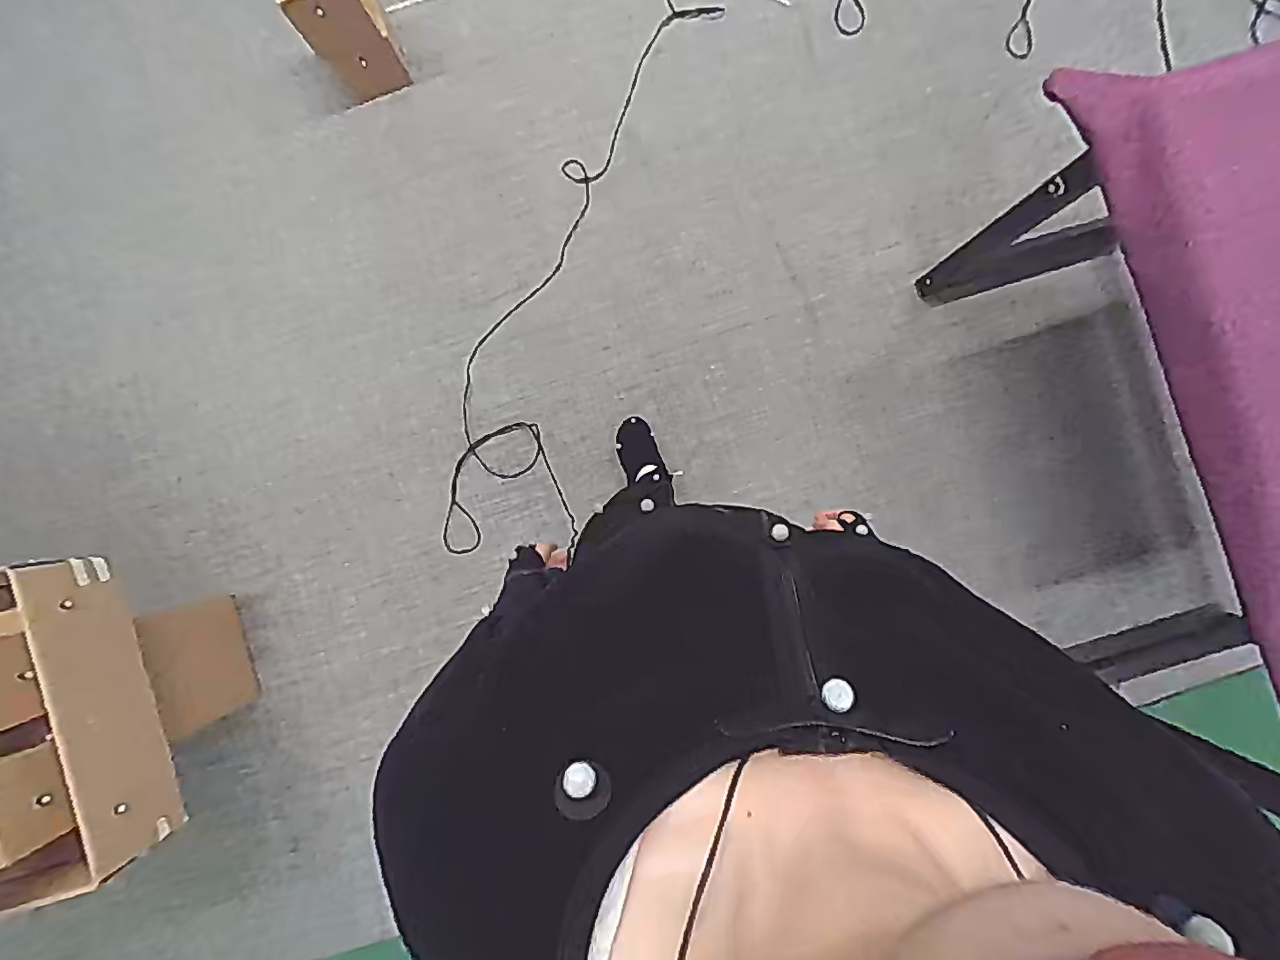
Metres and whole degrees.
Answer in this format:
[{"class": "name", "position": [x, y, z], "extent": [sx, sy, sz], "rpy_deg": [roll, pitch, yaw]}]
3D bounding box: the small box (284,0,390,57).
[{"class": "small box", "position": [-0.744, -1.177, 1.304], "extent": [0.179, 0.176, 0.168], "rpy_deg": [-18, 90, 1]}]

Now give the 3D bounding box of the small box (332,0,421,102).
[{"class": "small box", "position": [-0.729, -1.178, 1.469], "extent": [0.179, 0.176, 0.168], "rpy_deg": [-18, 89, 1]}]
